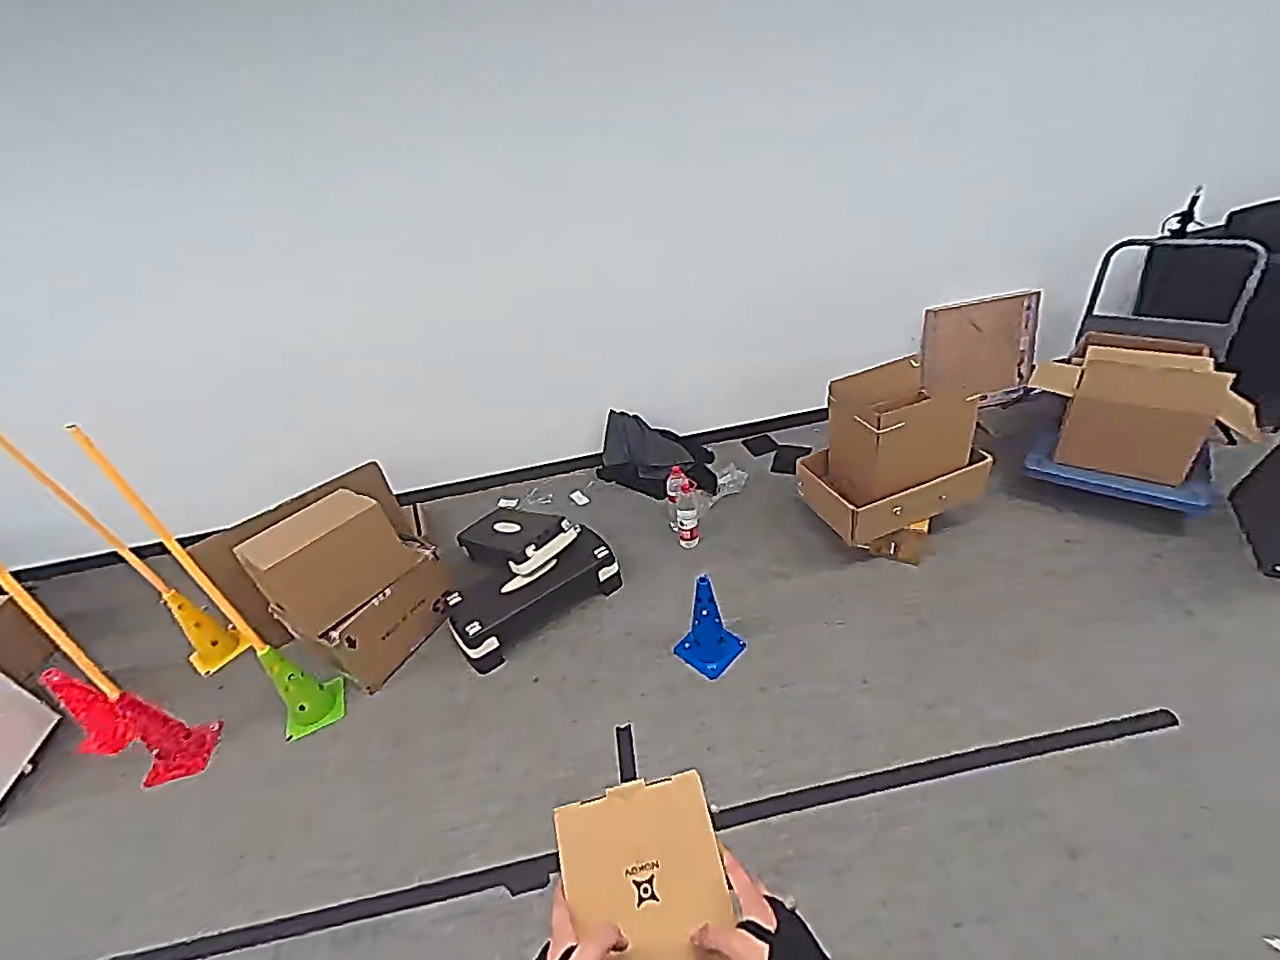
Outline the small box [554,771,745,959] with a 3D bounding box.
[{"bbox_3d":[0.009,0.450,0.608,0.168,0.176,0.179,-13,55,-5],"label":"small box"}]
